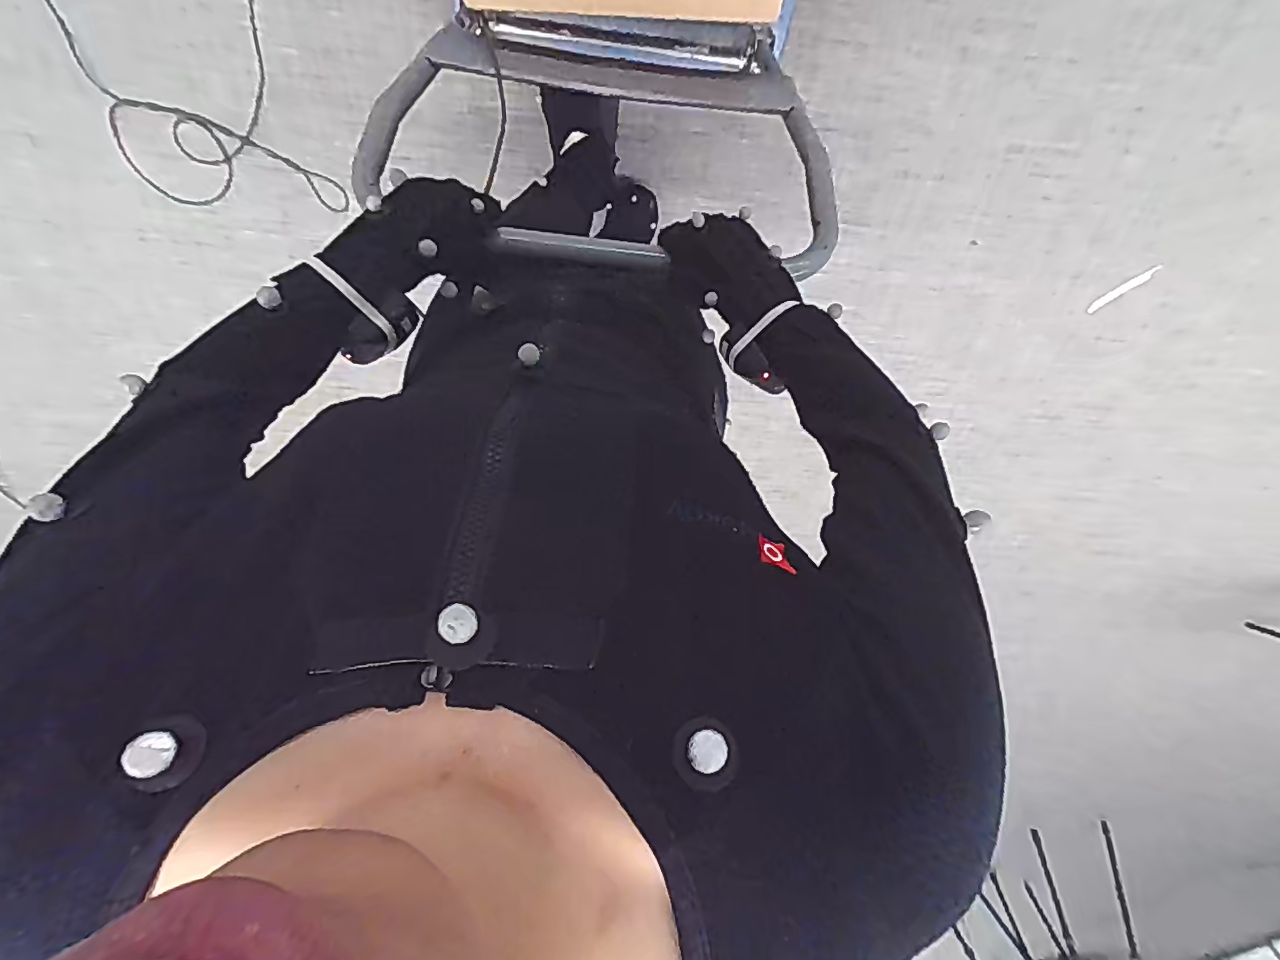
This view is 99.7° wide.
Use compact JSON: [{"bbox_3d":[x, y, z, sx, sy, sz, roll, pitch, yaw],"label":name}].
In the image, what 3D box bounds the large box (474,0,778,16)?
[{"bbox_3d":[-0.019,-0.823,0.693,0.408,0.320,0.320,1,138,-2],"label":"large box"}]
